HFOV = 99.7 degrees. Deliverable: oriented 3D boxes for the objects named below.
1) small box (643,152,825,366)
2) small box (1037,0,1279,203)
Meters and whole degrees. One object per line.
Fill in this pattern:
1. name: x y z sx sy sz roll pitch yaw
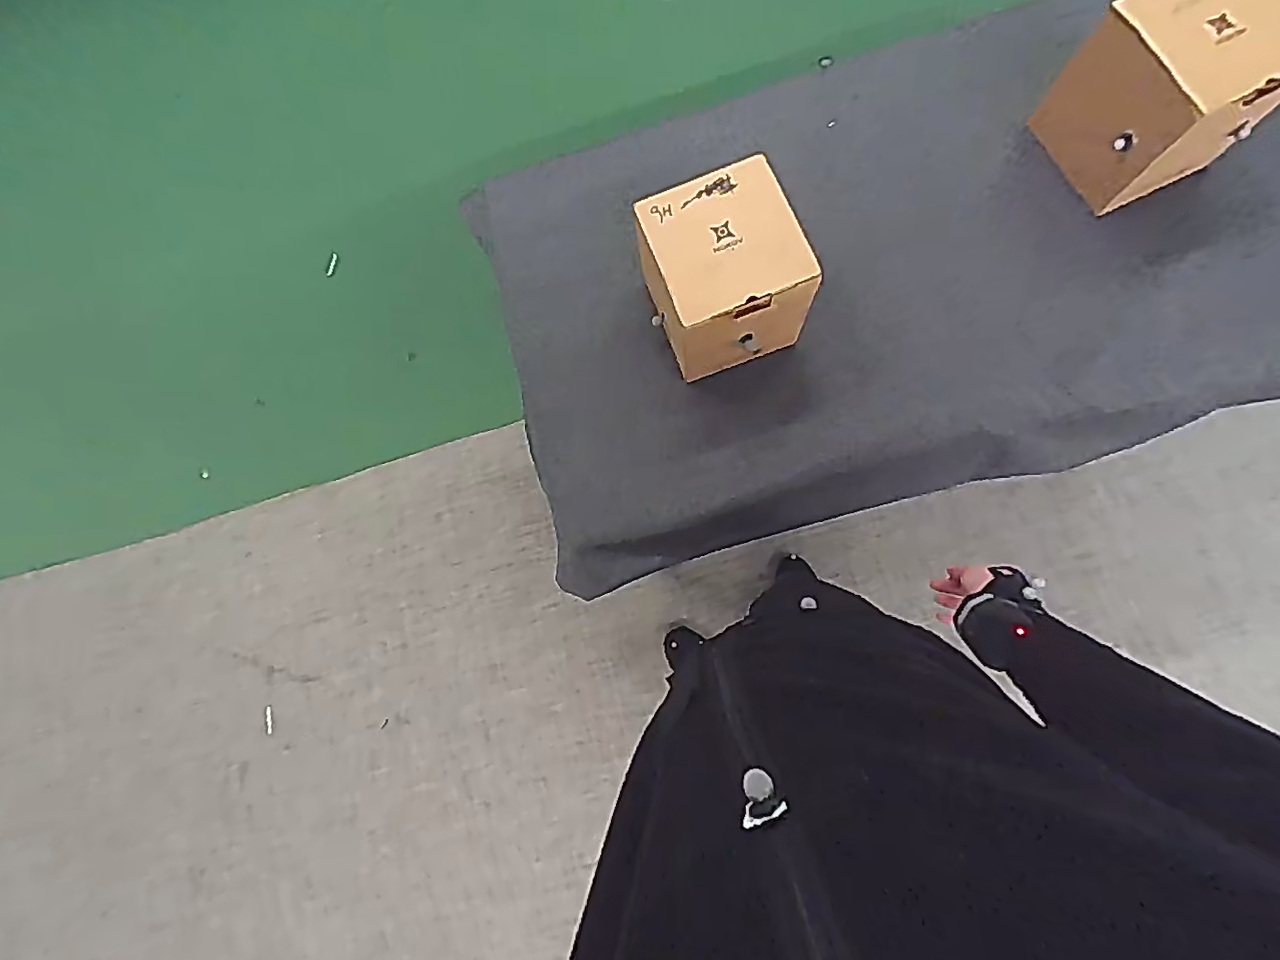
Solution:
1. small box: 0.115 -0.266 0.699 0.168 0.176 0.179 -20 78 2
2. small box: 0.662 -0.485 0.679 0.168 0.176 0.179 -24 76 0
